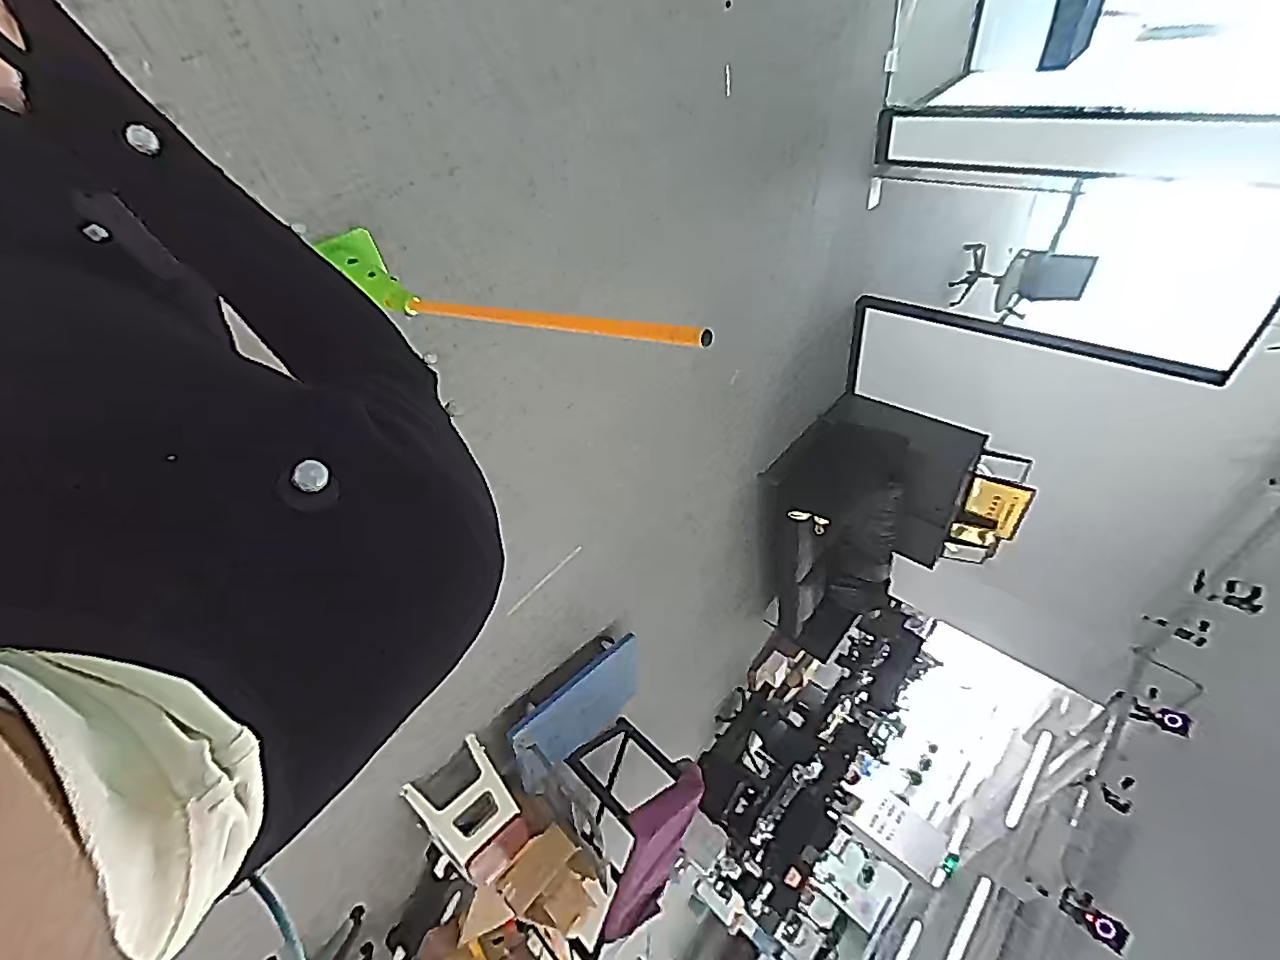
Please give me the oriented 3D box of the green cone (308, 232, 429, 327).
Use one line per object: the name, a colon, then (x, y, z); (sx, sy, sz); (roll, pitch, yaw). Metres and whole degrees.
green cone: (-0.628, -0.468, 1.347); (0.202, 0.368, 0.200); (-40, 140, -26)
